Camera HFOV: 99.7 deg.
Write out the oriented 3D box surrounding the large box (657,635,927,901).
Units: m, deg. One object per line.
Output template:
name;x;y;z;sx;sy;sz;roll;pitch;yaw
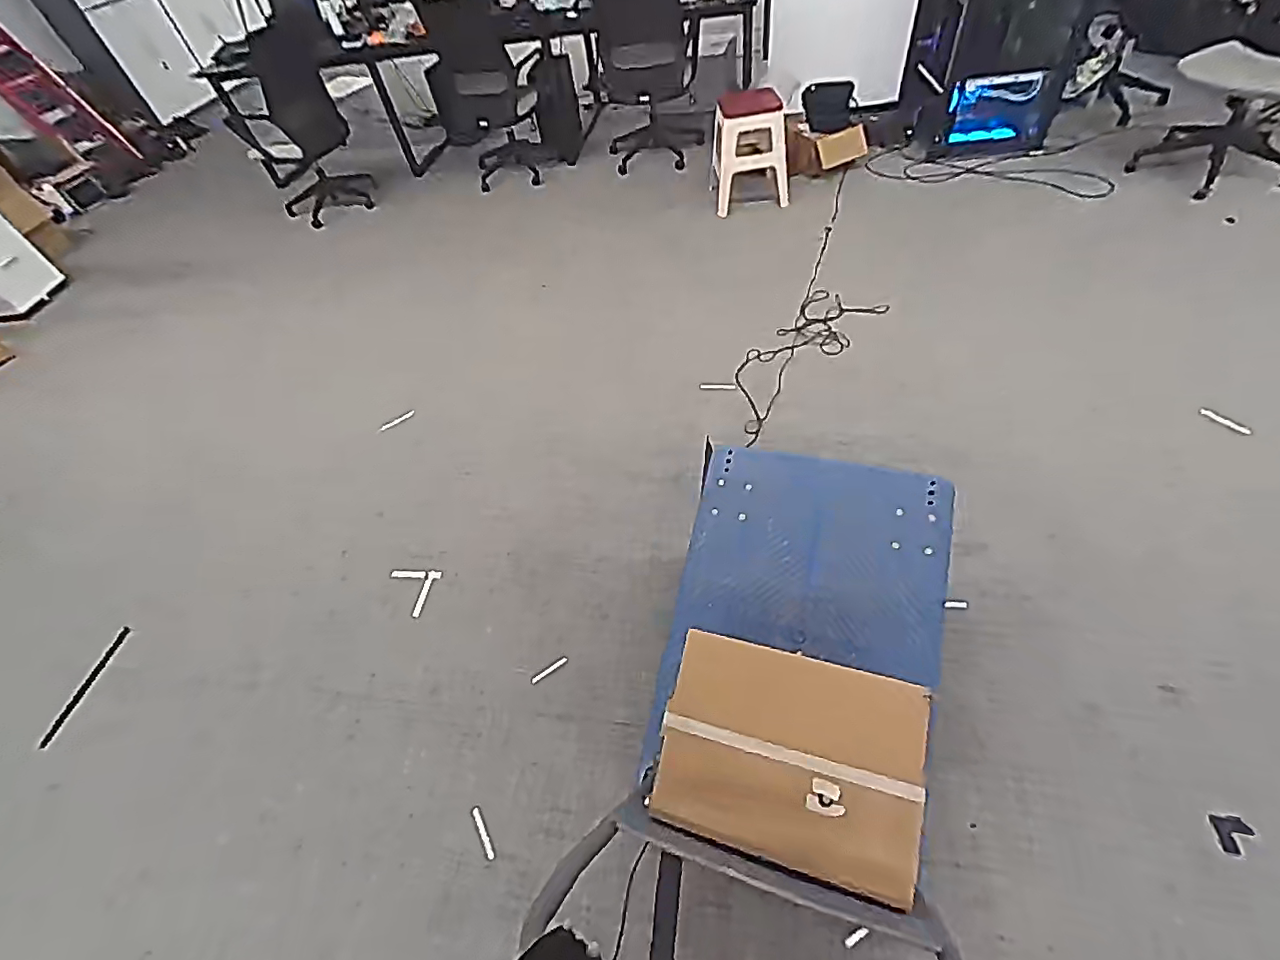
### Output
large box;0.278;0.504;1.029;0.408;0.320;0.320;9;73;17
